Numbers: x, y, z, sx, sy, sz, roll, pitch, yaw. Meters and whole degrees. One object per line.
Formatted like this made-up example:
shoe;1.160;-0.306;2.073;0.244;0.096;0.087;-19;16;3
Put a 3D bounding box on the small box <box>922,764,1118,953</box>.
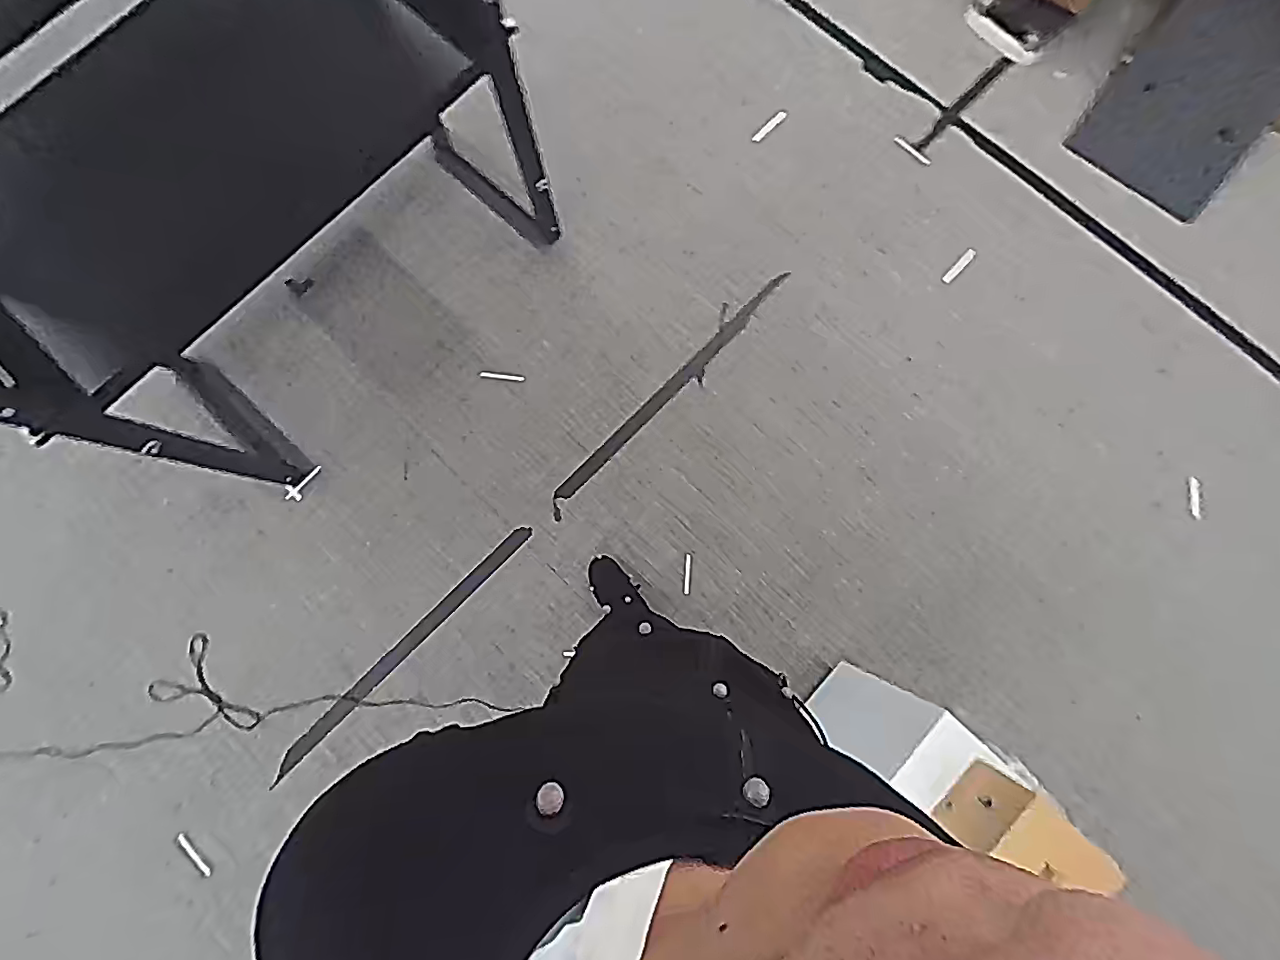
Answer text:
small box;0.627;0.620;0.920;0.179;0.176;0.168;44;84;5
